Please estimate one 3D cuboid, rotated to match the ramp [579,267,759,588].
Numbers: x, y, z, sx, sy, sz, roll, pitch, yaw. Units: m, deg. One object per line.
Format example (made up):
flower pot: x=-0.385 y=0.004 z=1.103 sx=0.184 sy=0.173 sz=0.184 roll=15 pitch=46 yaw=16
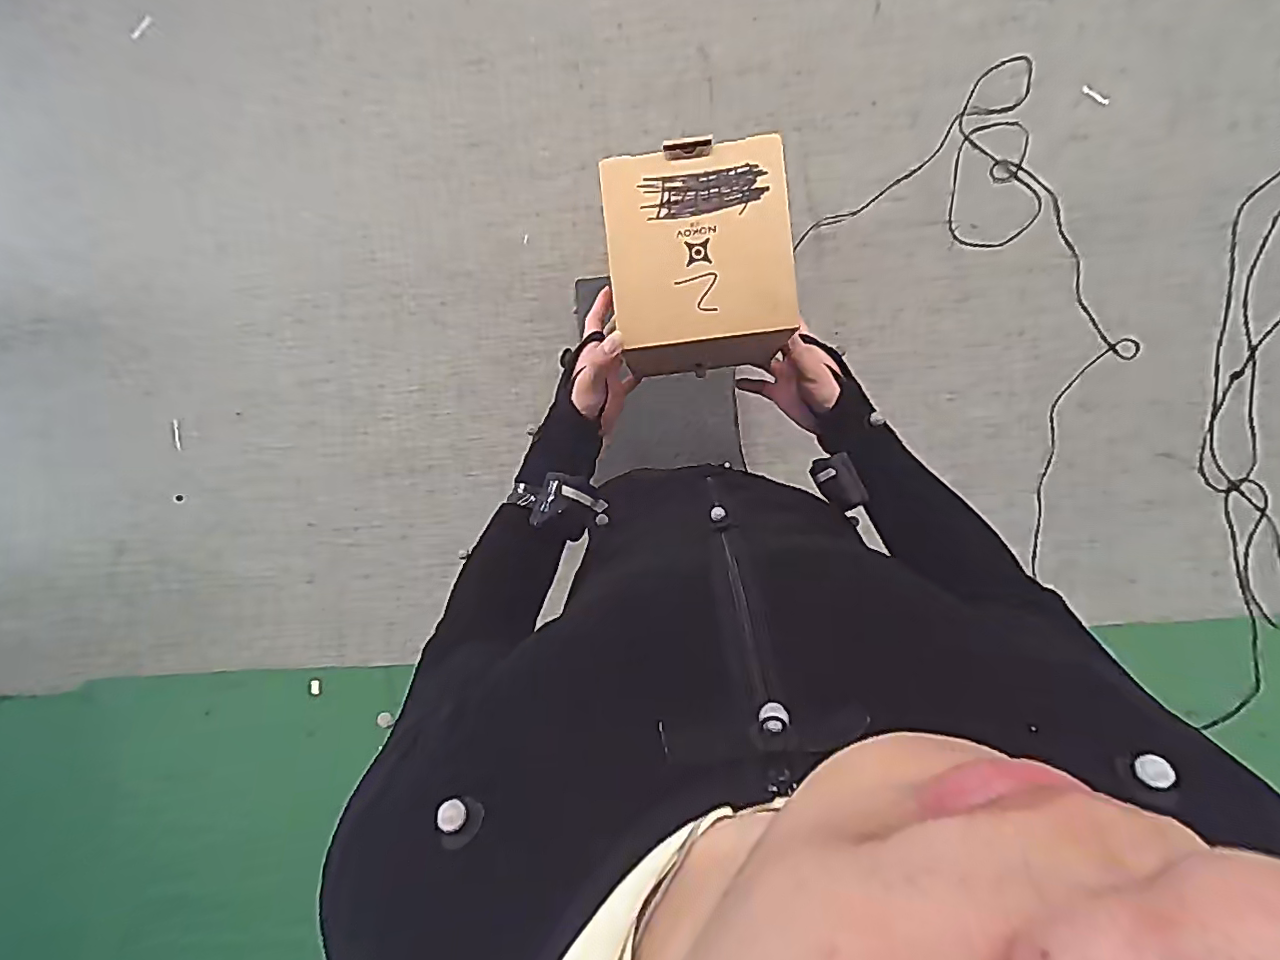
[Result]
ramp: x=0.074 y=-0.180 z=1.708 sx=0.509 sy=0.206 sz=0.991 roll=-7 pitch=91 yaw=6
